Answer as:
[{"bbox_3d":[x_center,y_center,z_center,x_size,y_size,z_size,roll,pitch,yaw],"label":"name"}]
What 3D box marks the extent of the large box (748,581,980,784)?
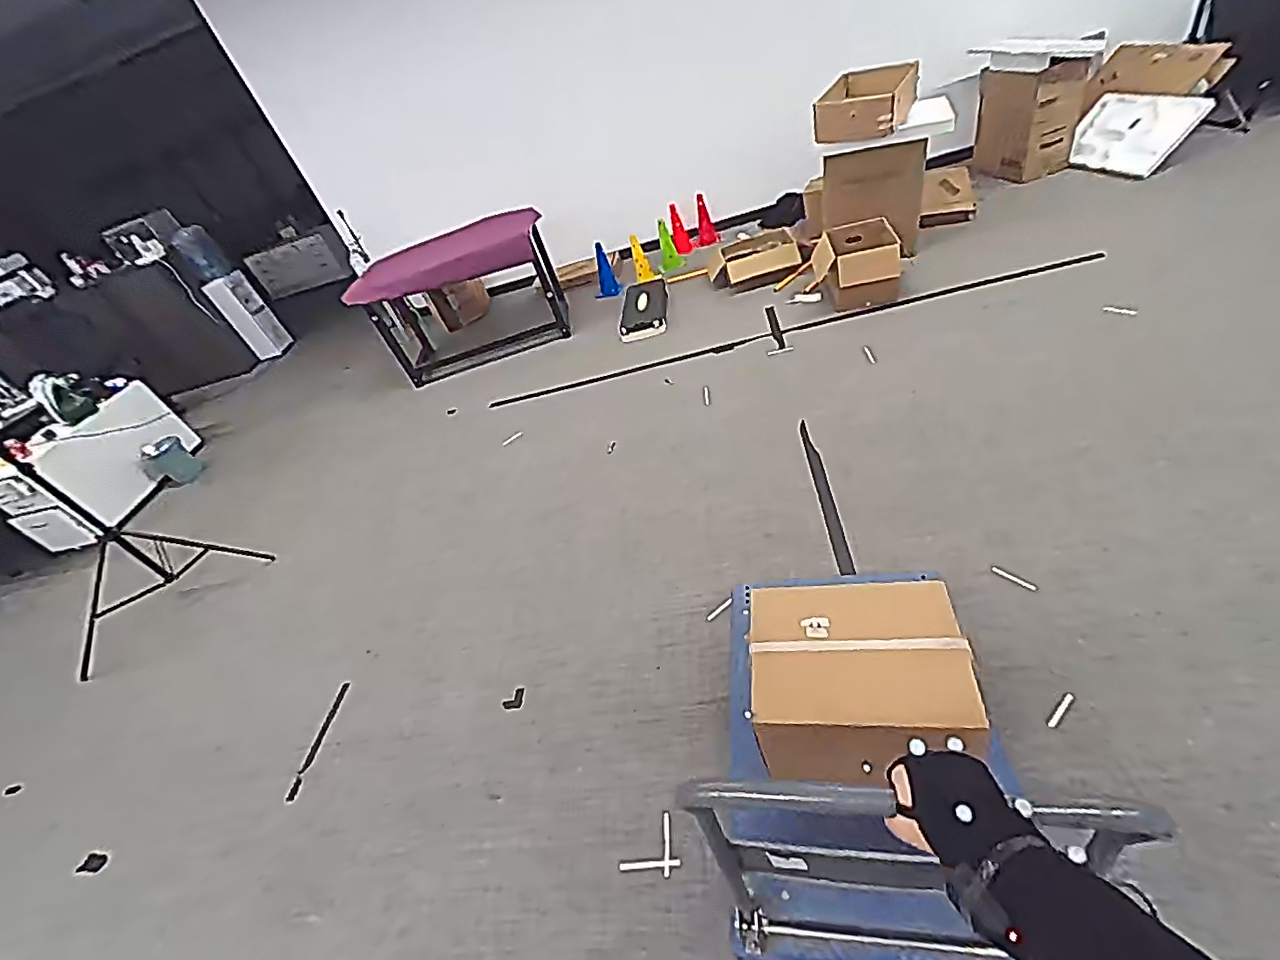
[{"bbox_3d":[0.469,0.453,1.195,0.408,0.320,0.320,-8,40,17],"label":"large box"}]
